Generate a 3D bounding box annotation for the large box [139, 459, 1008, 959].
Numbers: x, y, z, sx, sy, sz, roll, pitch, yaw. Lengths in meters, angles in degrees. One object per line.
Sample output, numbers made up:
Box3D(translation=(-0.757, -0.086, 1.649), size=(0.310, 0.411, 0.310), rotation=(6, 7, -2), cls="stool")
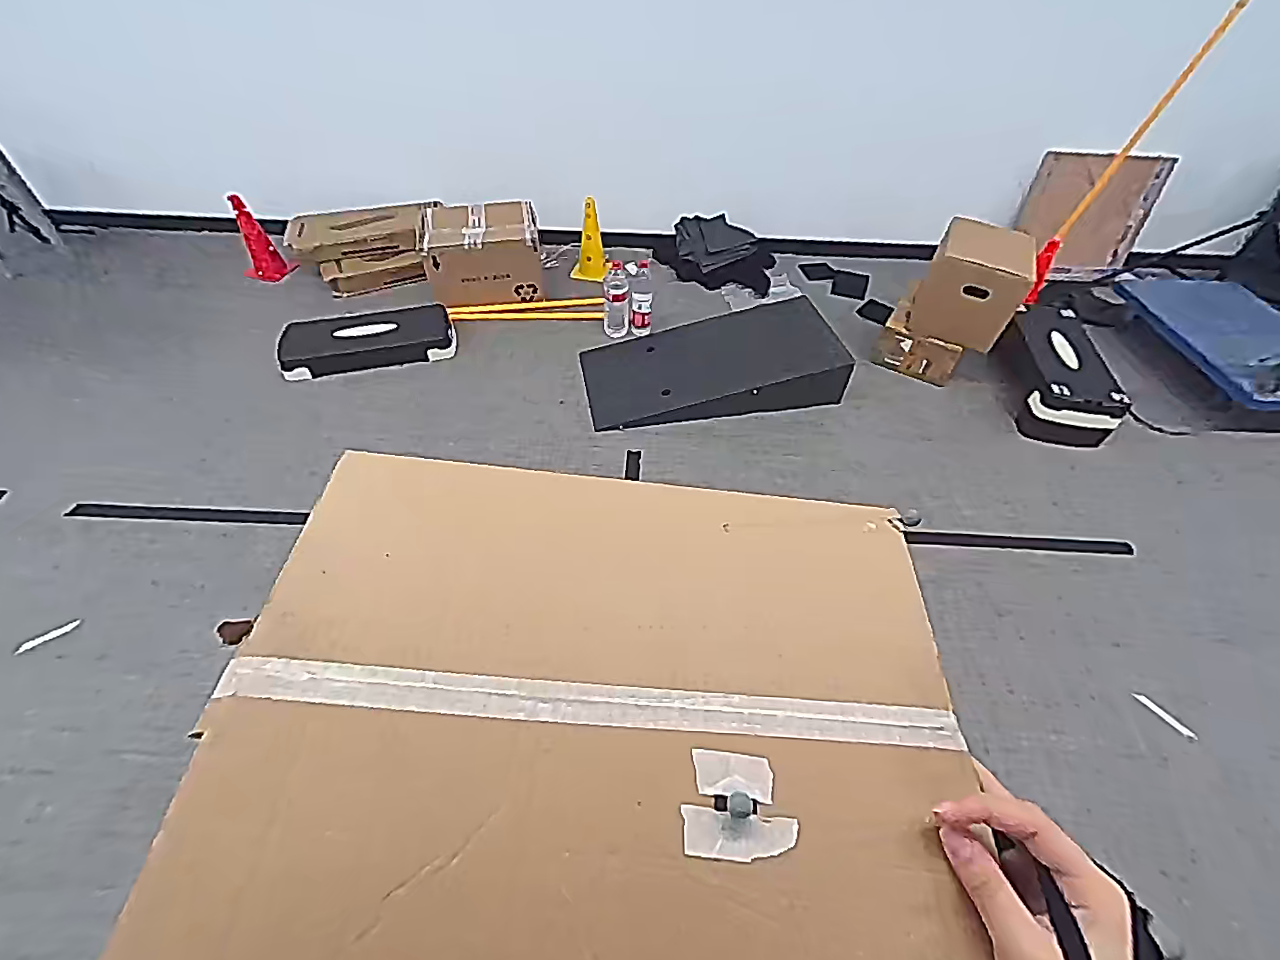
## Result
Box3D(translation=(-0.031, 0.213, 0.435), size=(0.408, 0.320, 0.320), rotation=(7, 54, -4), cls="large box")
